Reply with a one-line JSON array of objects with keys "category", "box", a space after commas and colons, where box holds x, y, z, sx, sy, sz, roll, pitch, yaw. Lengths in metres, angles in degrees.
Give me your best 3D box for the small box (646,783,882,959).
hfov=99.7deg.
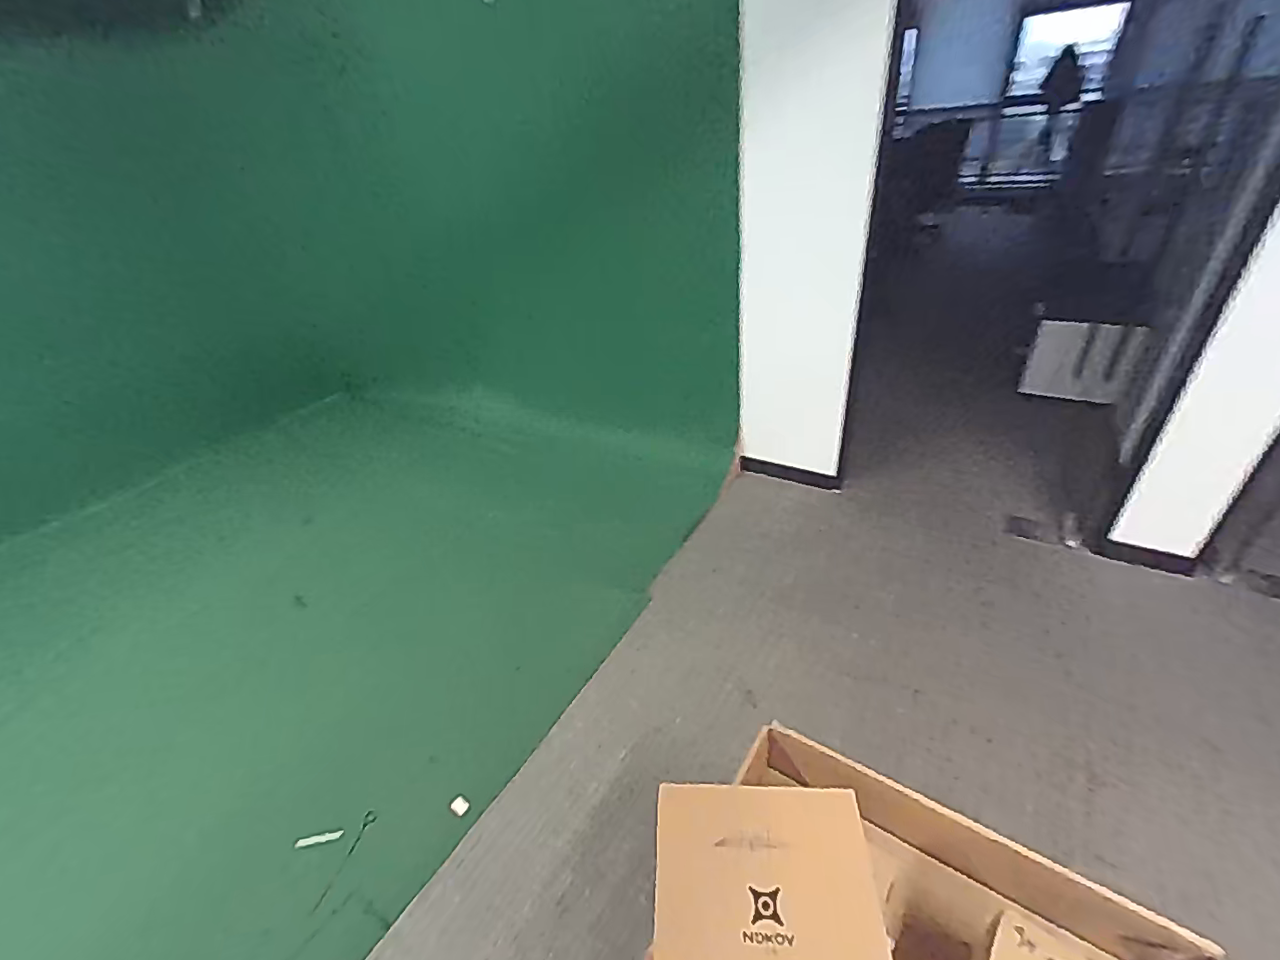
[{"category": "small box", "box": [0.096, 0.378, 0.446, 0.168, 0.176, 0.179, -2, 39, 6]}]
